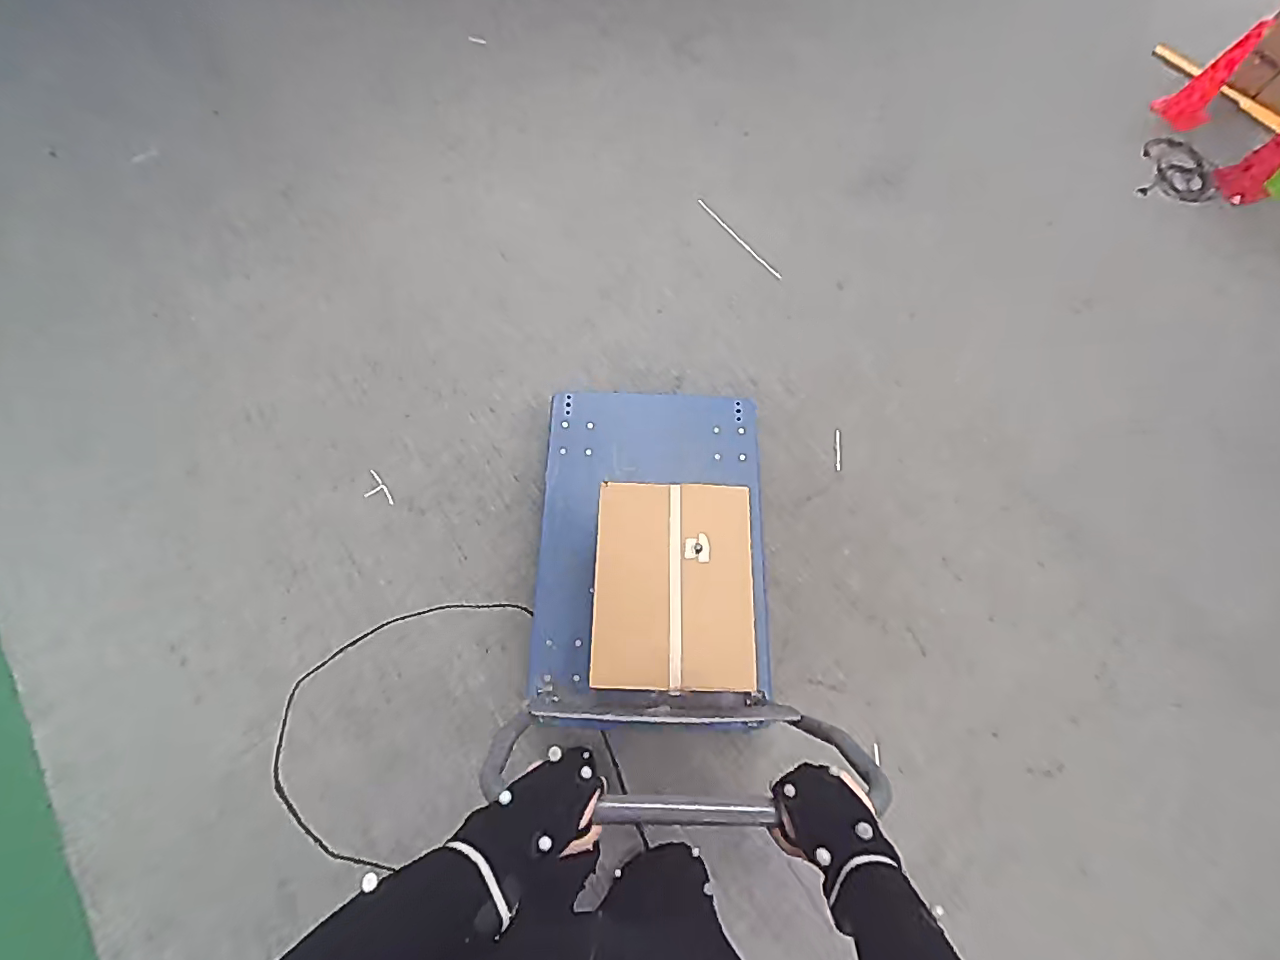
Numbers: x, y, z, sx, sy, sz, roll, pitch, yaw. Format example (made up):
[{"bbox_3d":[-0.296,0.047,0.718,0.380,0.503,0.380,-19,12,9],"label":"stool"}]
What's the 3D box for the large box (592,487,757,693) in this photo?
[{"bbox_3d":[0.062,0.258,1.206,0.320,0.320,0.408,2,69,-2],"label":"large box"}]
